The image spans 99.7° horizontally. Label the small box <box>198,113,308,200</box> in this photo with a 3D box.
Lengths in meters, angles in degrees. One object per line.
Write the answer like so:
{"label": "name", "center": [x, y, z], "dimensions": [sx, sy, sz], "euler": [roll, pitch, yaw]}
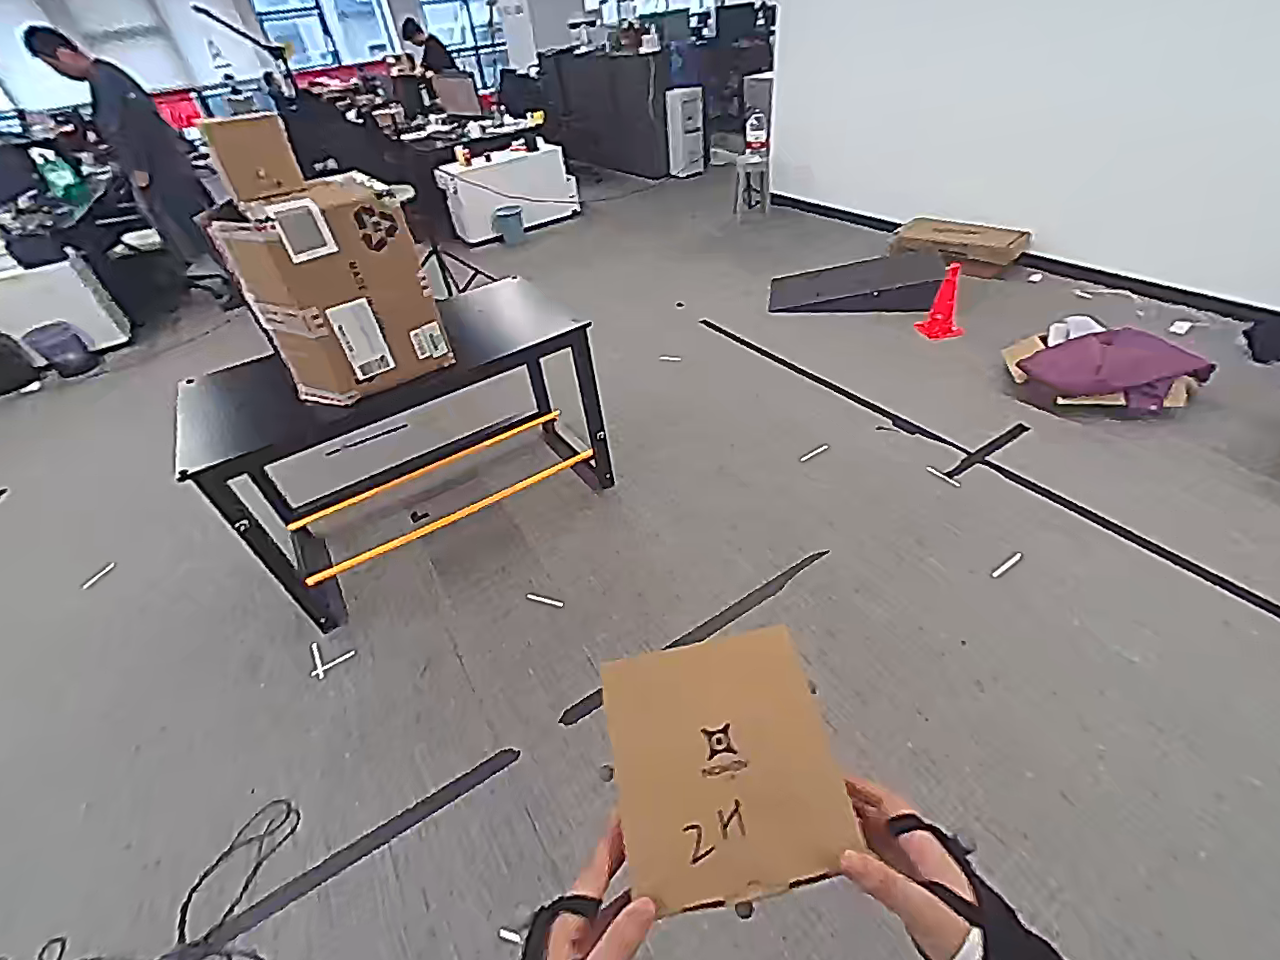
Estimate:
{"label": "small box", "center": [-0.992, -0.831, 1.390], "dimensions": [0.168, 0.176, 0.179], "euler": [-30, 44, -26]}
